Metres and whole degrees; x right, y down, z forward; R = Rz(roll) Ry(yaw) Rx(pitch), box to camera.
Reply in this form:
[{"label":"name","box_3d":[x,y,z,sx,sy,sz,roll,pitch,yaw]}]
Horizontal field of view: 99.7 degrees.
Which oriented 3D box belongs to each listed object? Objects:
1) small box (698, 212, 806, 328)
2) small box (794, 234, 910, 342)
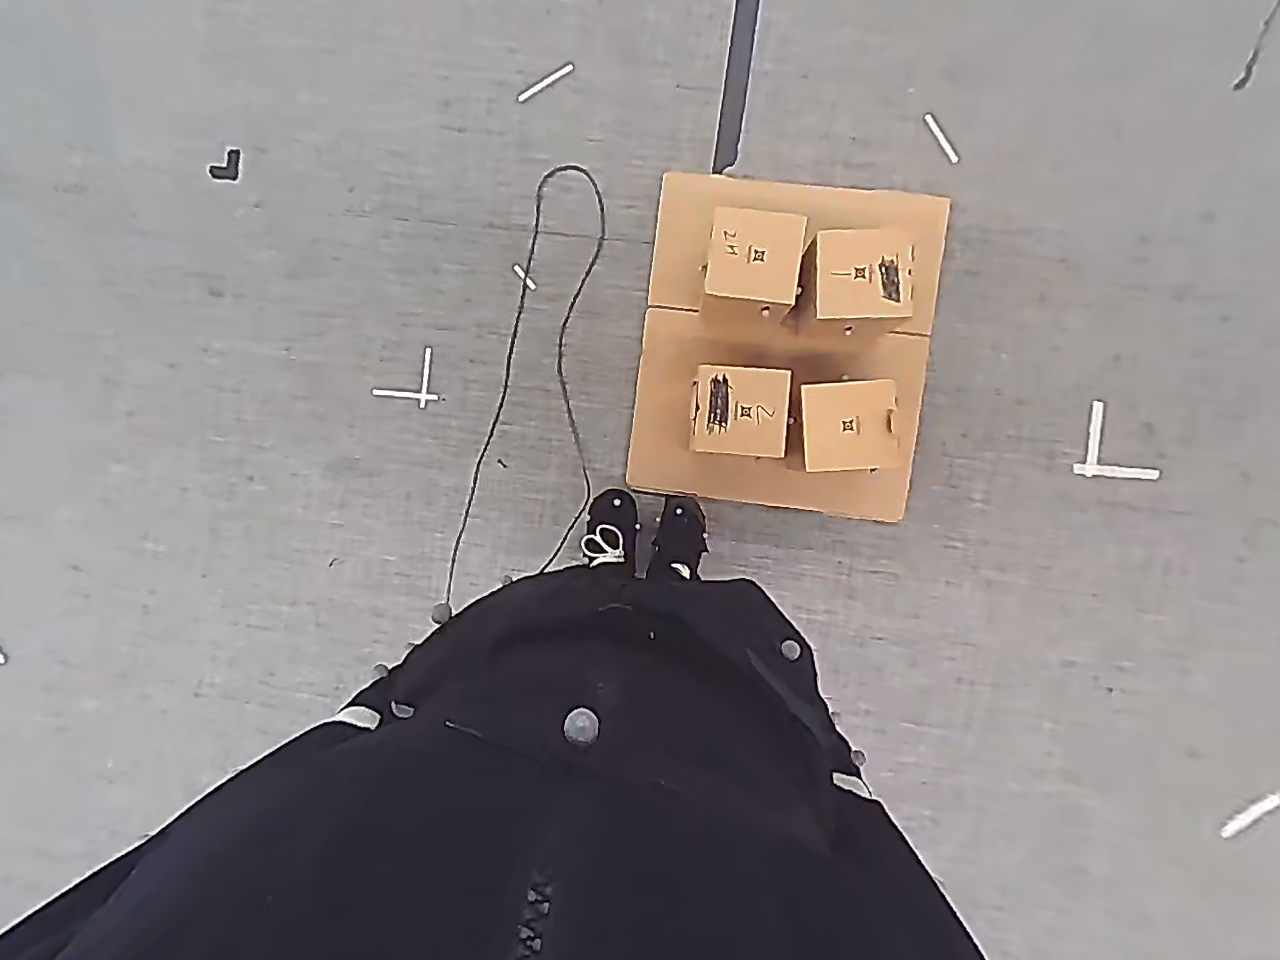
[{"label":"small box","box_3d":[0.219,-0.417,1.100,0.179,0.176,0.168,9,92,3]},{"label":"small box","box_3d":[0.418,-0.379,1.087,0.179,0.176,0.168,0,92,5]}]
